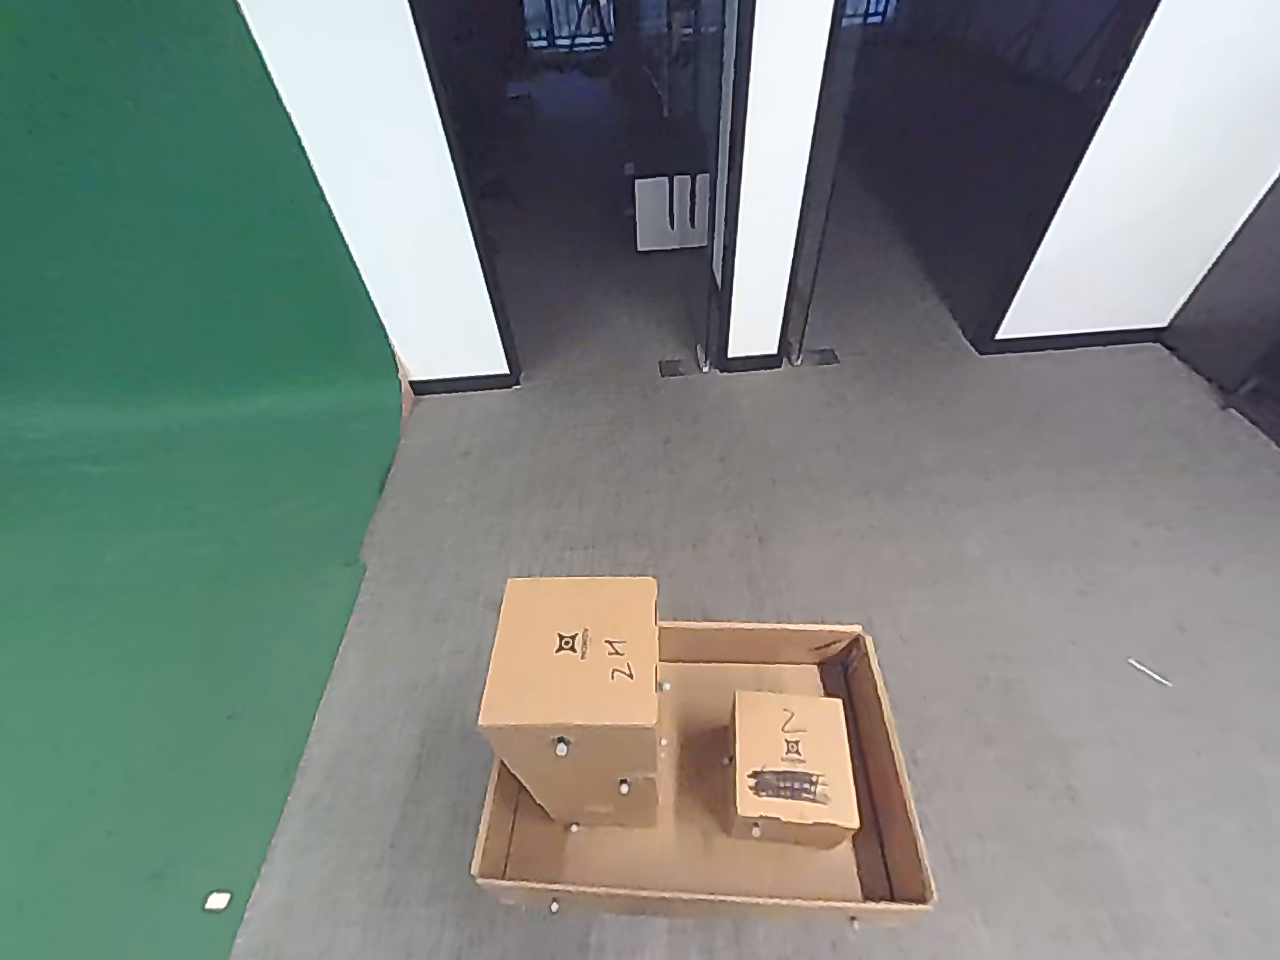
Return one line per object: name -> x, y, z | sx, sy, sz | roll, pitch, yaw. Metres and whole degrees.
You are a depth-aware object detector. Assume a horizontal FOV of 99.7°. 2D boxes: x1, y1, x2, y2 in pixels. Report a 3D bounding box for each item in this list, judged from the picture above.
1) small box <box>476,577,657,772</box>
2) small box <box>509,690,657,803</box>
small box -> -0.069, 0.229, 0.630 | 0.179, 0.176, 0.168 | 1, 48, 1
small box -> -0.066, 0.338, 0.753 | 0.179, 0.176, 0.168 | 1, 48, 2
